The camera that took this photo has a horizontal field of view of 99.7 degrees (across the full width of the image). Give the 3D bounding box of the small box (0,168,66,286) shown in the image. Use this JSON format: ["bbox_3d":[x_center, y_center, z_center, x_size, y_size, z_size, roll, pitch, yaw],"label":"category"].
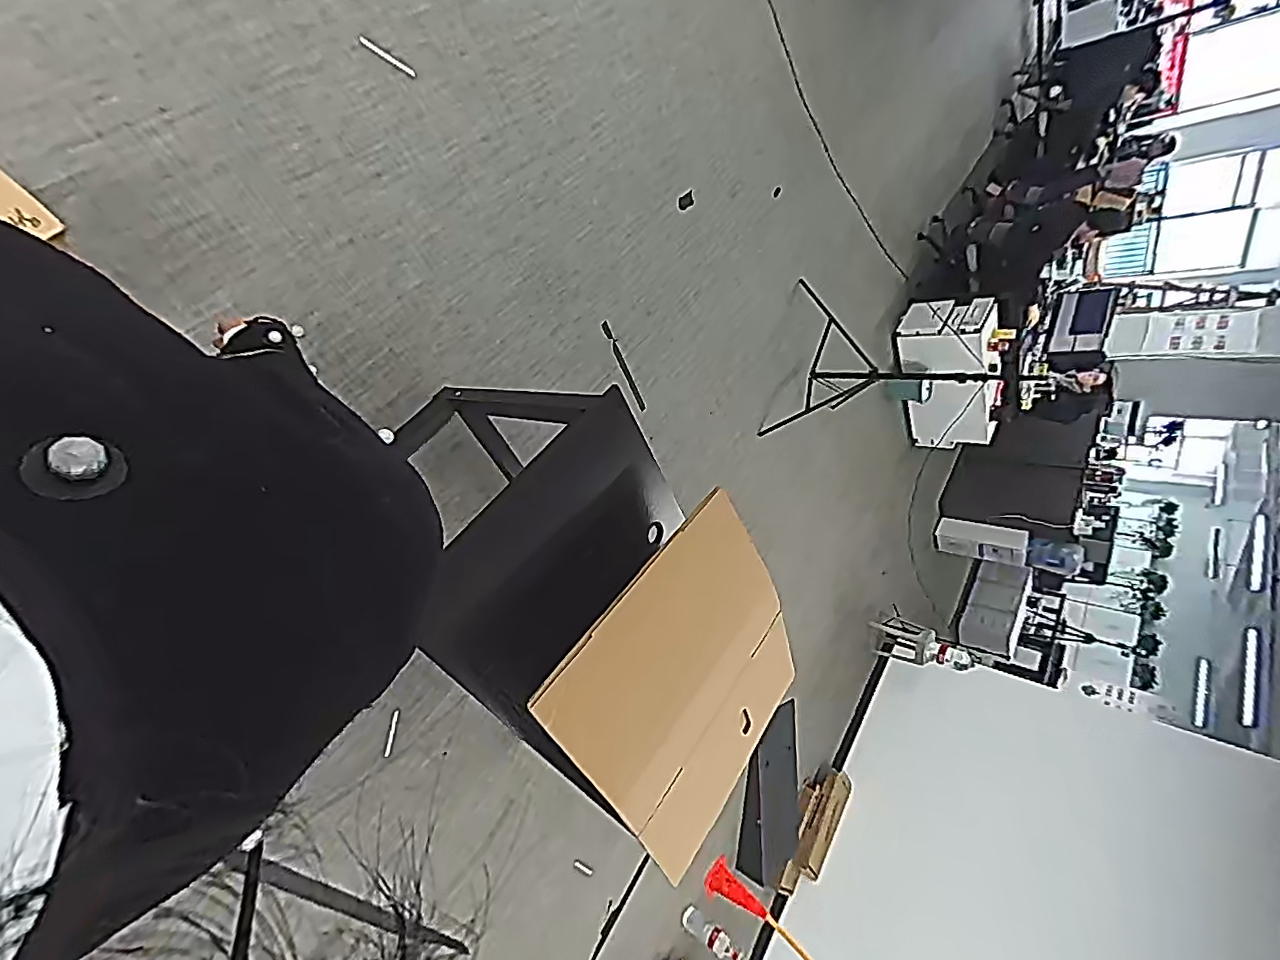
[{"bbox_3d":[-0.877,-0.333,0.663,0.168,0.176,0.179,-54,132,-25],"label":"small box"}]

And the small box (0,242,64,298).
[{"bbox_3d":[-0.994,-0.354,0.776,0.179,0.176,0.168,-57,134,-24],"label":"small box"}]
